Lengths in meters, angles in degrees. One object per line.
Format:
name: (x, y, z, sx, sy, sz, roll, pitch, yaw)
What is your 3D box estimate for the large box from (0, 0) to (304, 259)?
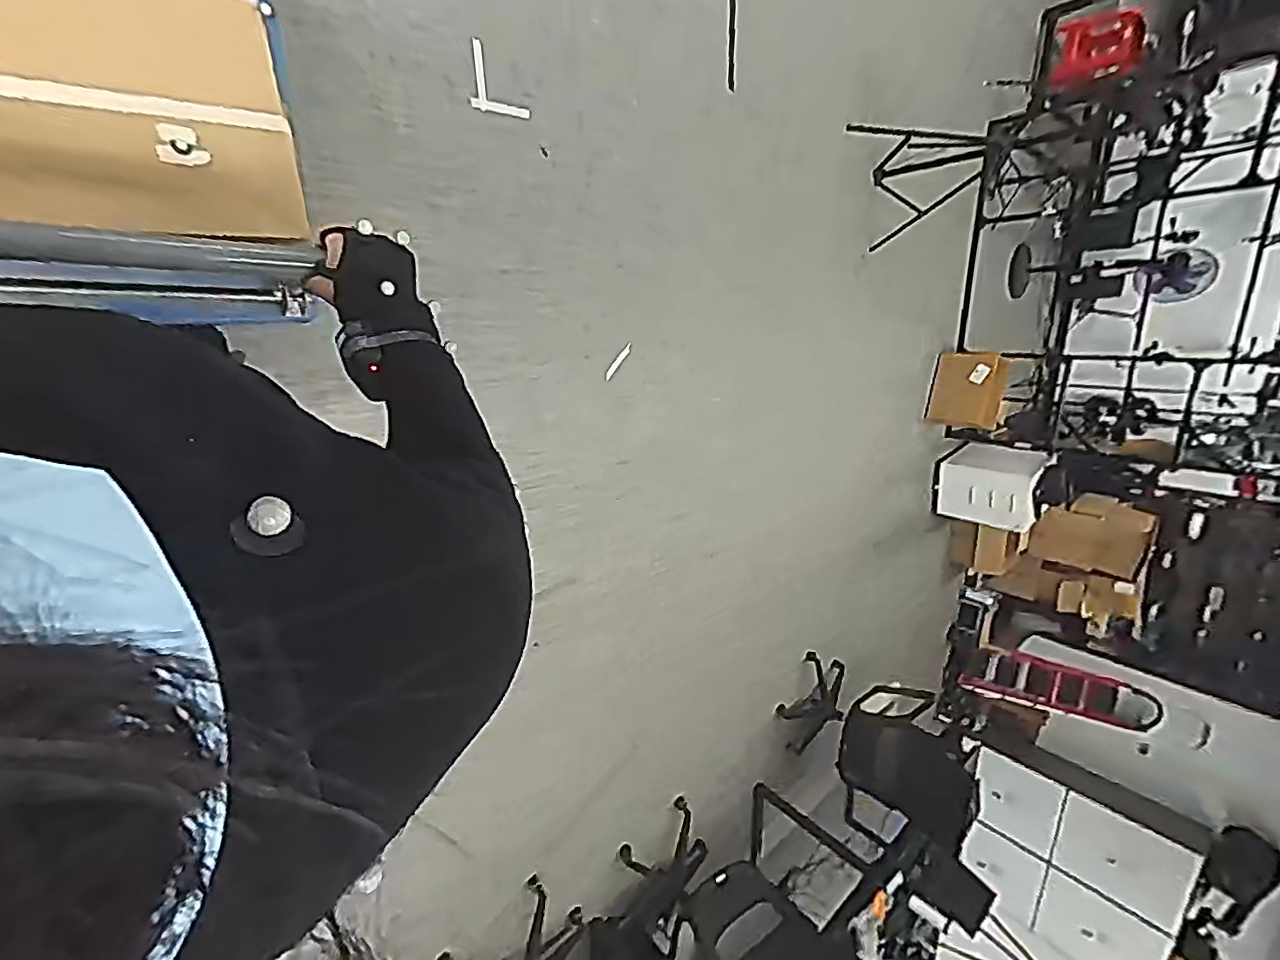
large box: (-0.790, -0.509, 0.797, 0.408, 0.320, 0.320, -18, 114, -39)
